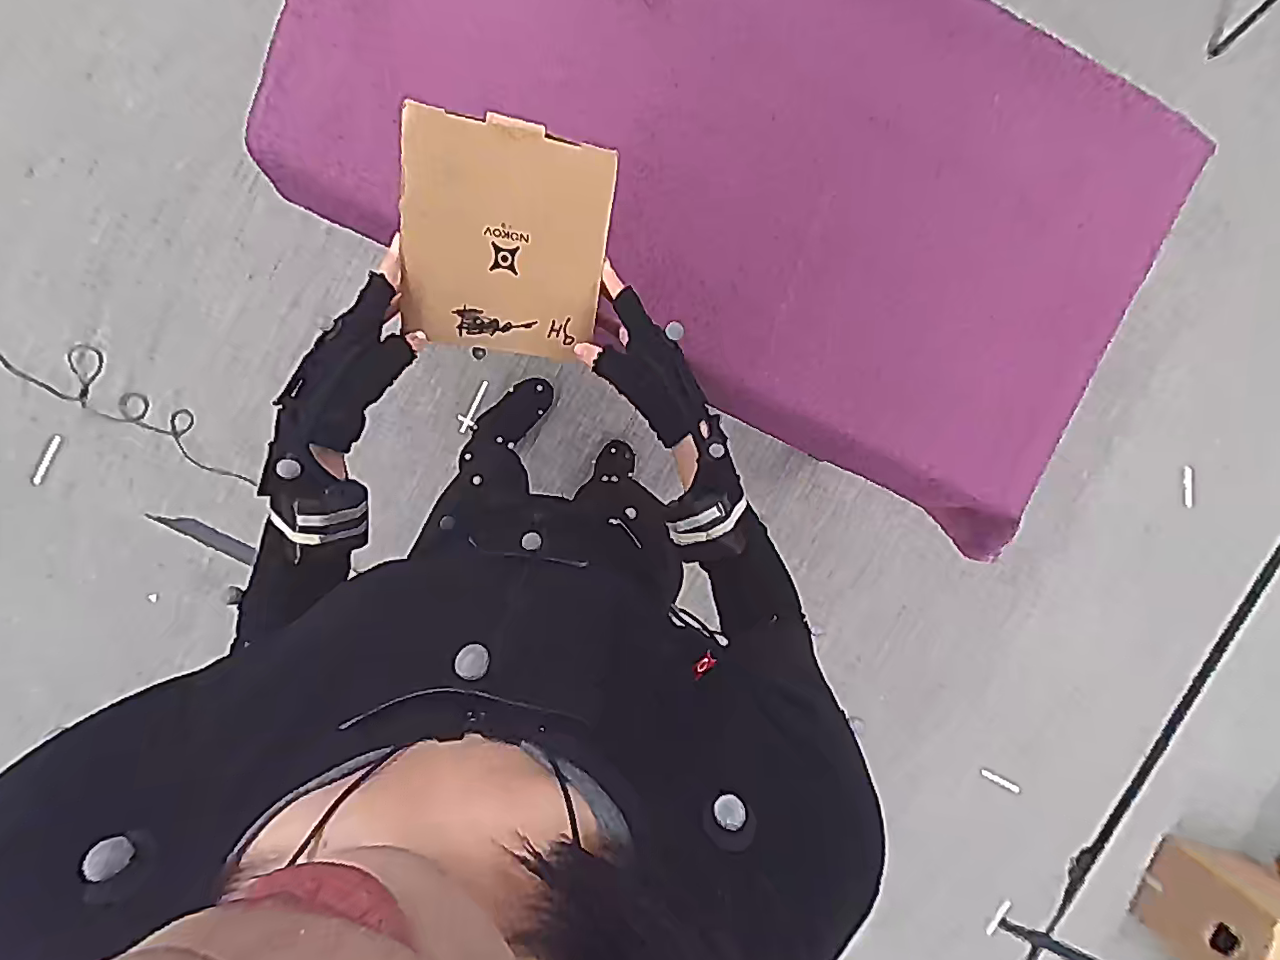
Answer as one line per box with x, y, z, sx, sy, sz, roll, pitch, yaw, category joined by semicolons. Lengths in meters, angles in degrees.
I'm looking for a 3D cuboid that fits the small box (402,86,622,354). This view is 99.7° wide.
-0.125;-0.236;0.518;0.168;0.176;0.179;6;114;-15;small box
